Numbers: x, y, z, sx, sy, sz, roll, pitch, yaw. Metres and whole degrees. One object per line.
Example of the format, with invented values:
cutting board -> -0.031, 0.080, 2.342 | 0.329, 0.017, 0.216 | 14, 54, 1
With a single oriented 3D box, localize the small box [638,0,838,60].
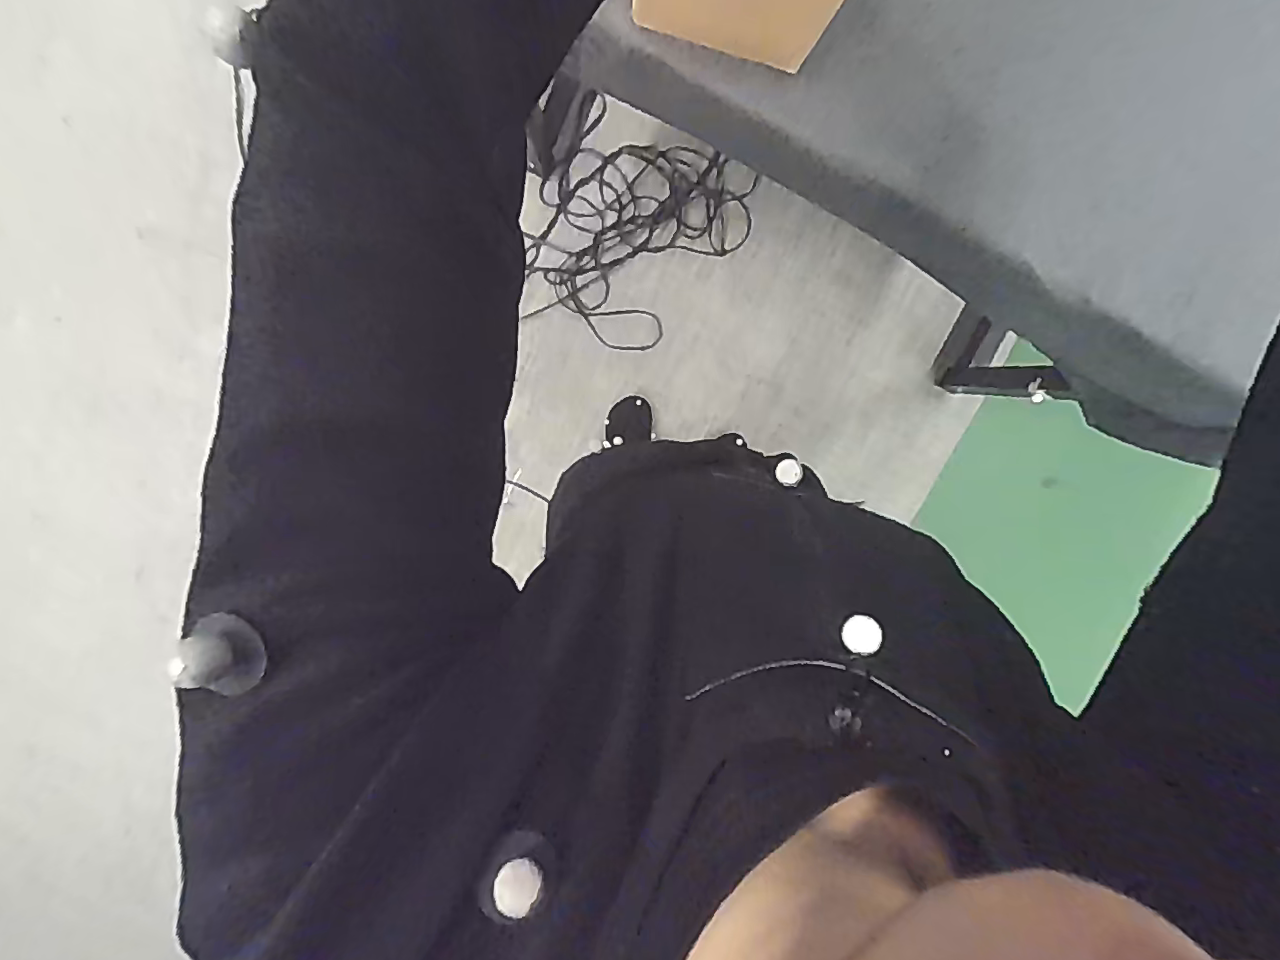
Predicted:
small box -> 0.103, -0.497, 0.447 | 0.179, 0.176, 0.168 | 13, 100, -6
